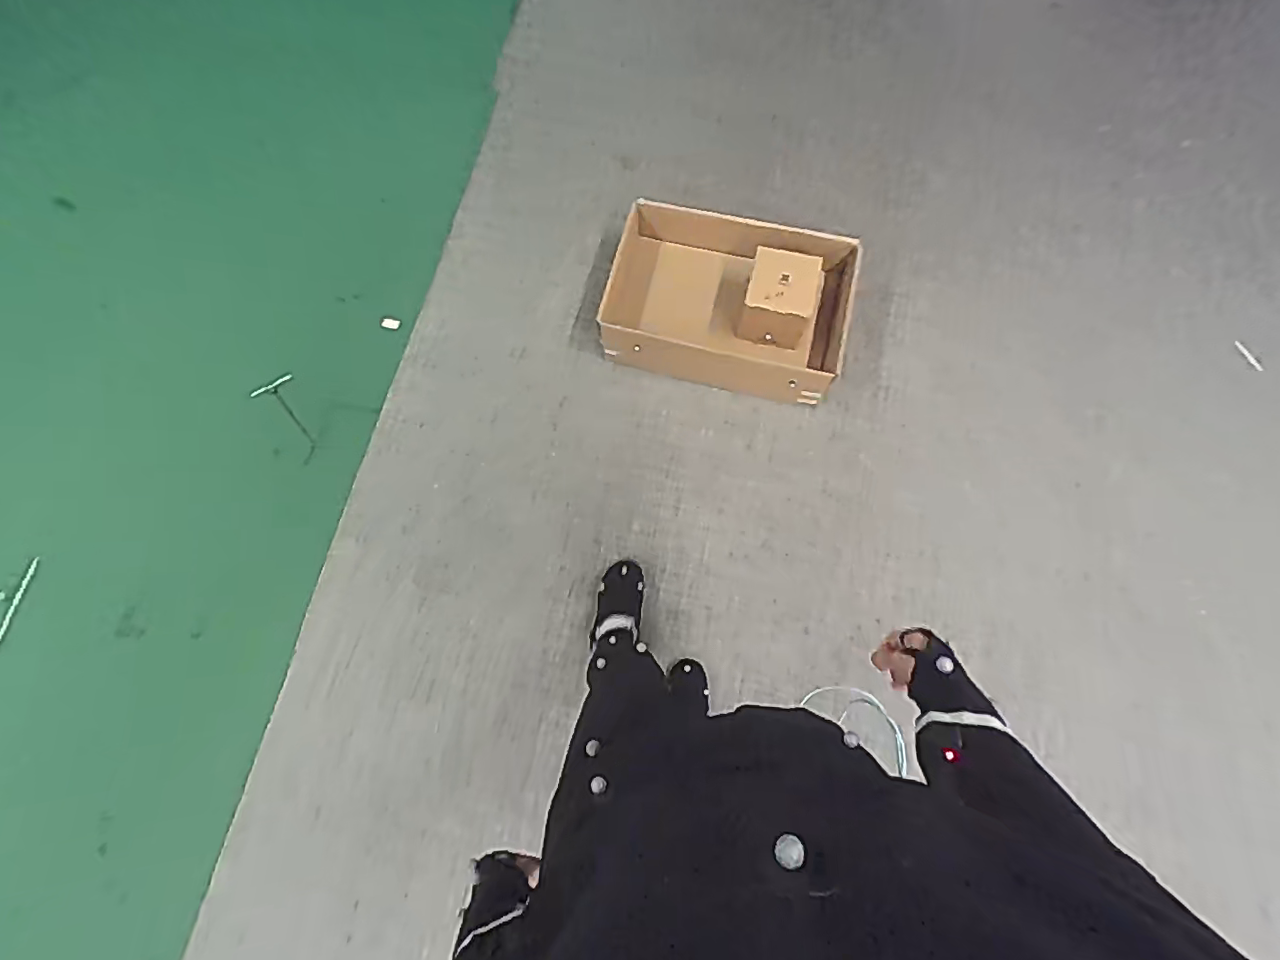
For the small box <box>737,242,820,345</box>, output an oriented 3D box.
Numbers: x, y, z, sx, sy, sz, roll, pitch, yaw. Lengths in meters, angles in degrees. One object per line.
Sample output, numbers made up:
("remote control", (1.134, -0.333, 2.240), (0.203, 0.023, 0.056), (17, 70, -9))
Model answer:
("small box", (0.358, -0.486, 1.422), (0.168, 0.176, 0.179), (13, 77, 7))
